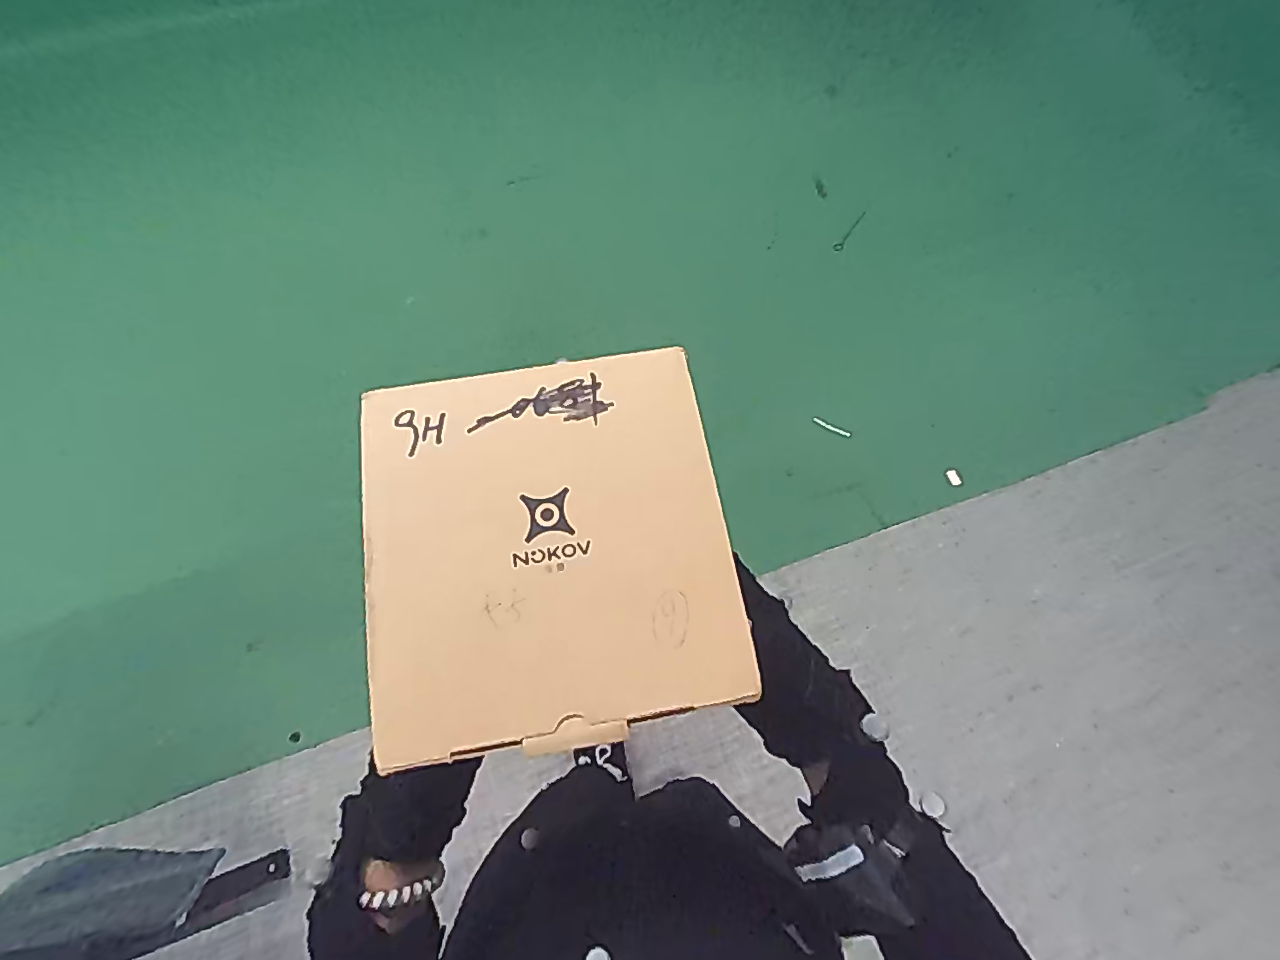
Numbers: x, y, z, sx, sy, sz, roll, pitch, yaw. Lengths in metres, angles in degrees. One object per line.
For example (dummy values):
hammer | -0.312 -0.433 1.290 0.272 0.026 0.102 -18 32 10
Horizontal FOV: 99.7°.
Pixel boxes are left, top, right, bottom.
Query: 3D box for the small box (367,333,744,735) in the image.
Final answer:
small box | -0.047 0.037 0.333 0.168 0.176 0.179 -8 74 -5
